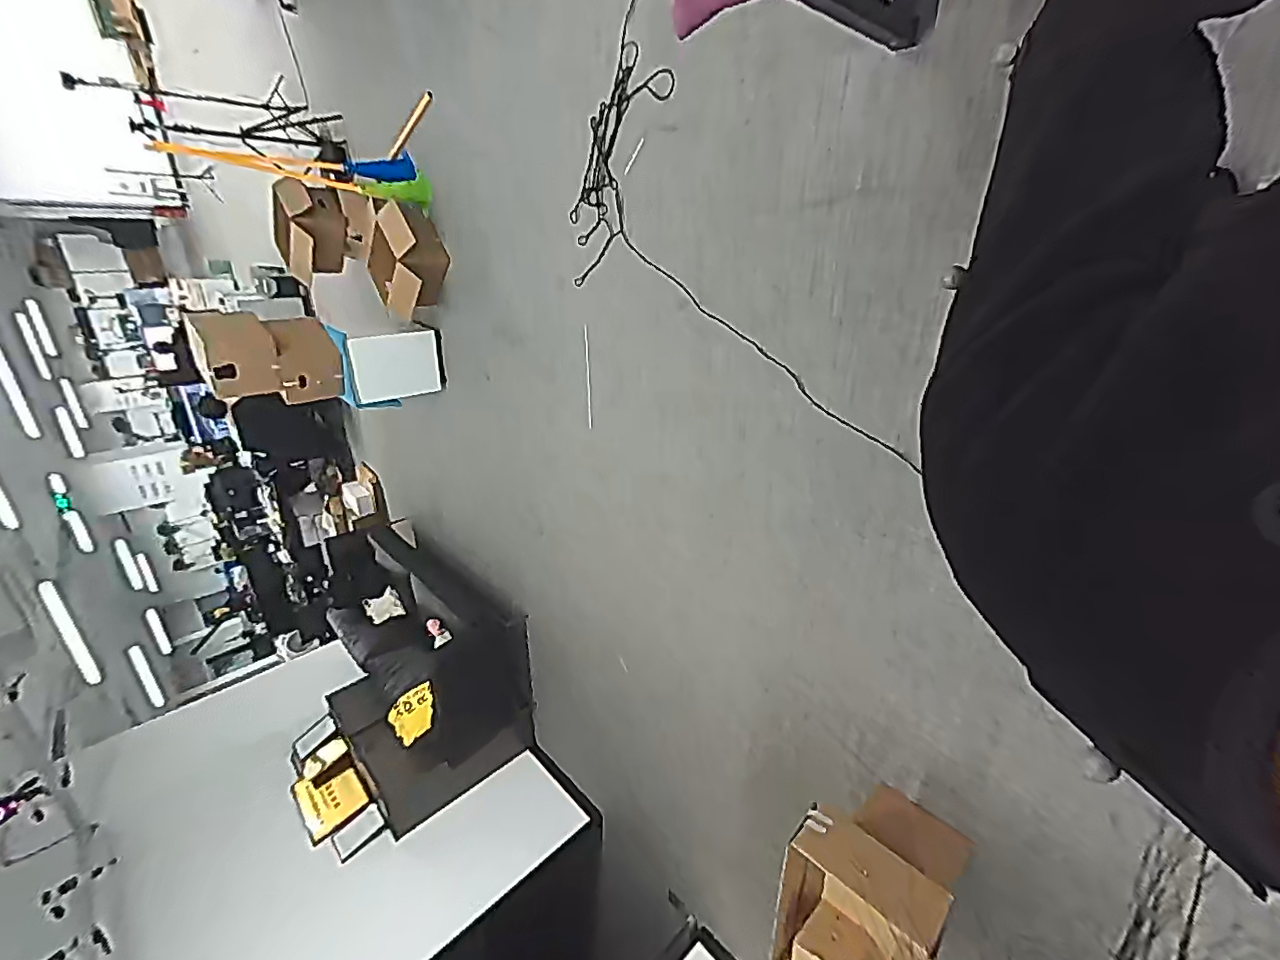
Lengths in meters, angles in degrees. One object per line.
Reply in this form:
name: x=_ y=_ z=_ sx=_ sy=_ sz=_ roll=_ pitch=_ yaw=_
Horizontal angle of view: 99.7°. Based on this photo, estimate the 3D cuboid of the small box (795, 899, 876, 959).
small box: x=0.575 y=1.403 z=1.592 sx=0.168 sy=0.176 sz=0.179 roll=17 pitch=116 yaw=44
